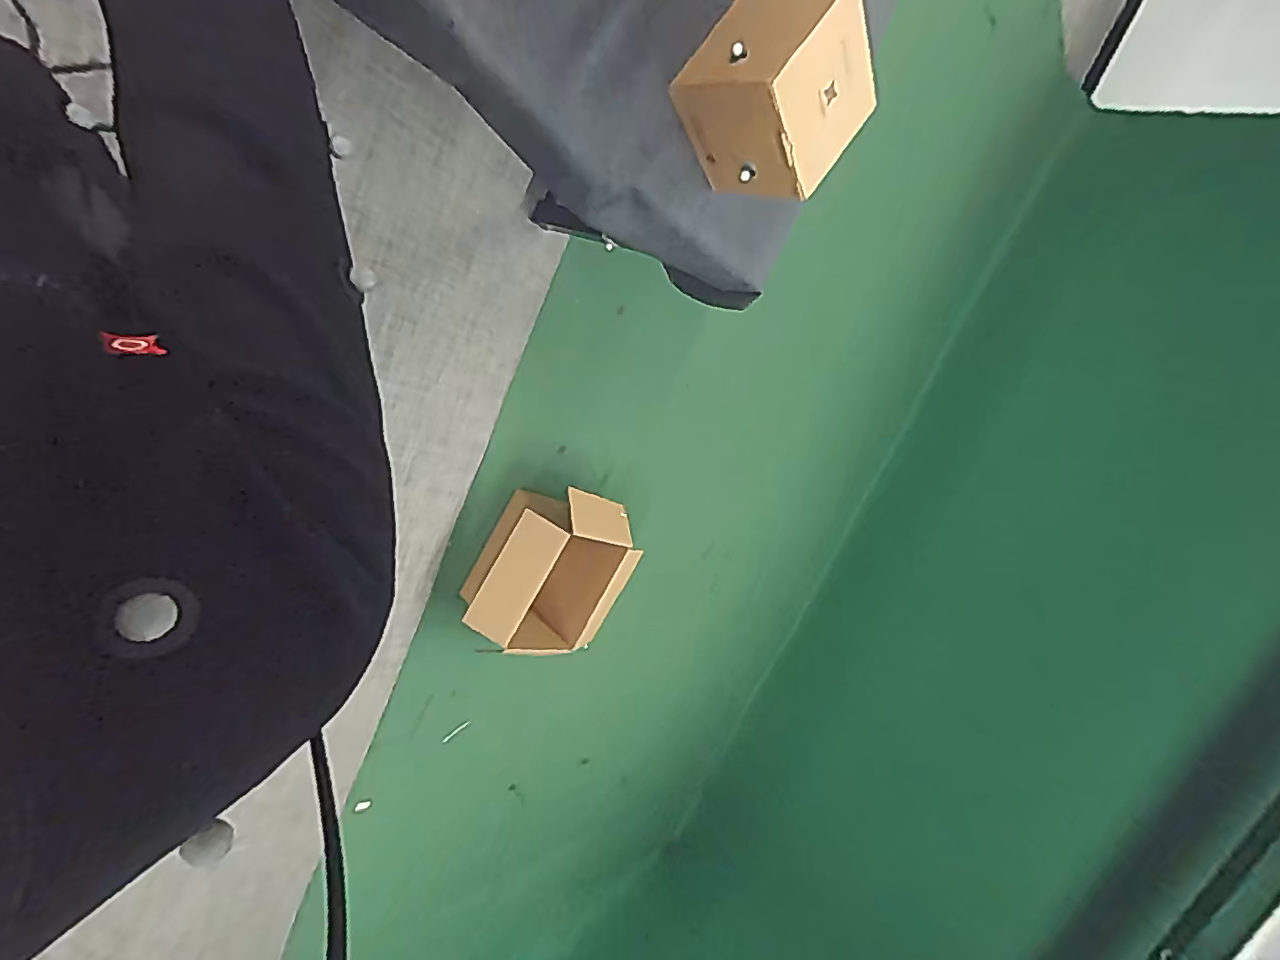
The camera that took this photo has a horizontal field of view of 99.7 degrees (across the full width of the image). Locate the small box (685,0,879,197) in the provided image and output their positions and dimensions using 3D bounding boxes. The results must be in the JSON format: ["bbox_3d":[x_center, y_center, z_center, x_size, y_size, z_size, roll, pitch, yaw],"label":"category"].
[{"bbox_3d":[0.180,-0.507,0.708,0.179,0.176,0.168,-55,142,-5],"label":"small box"}]
